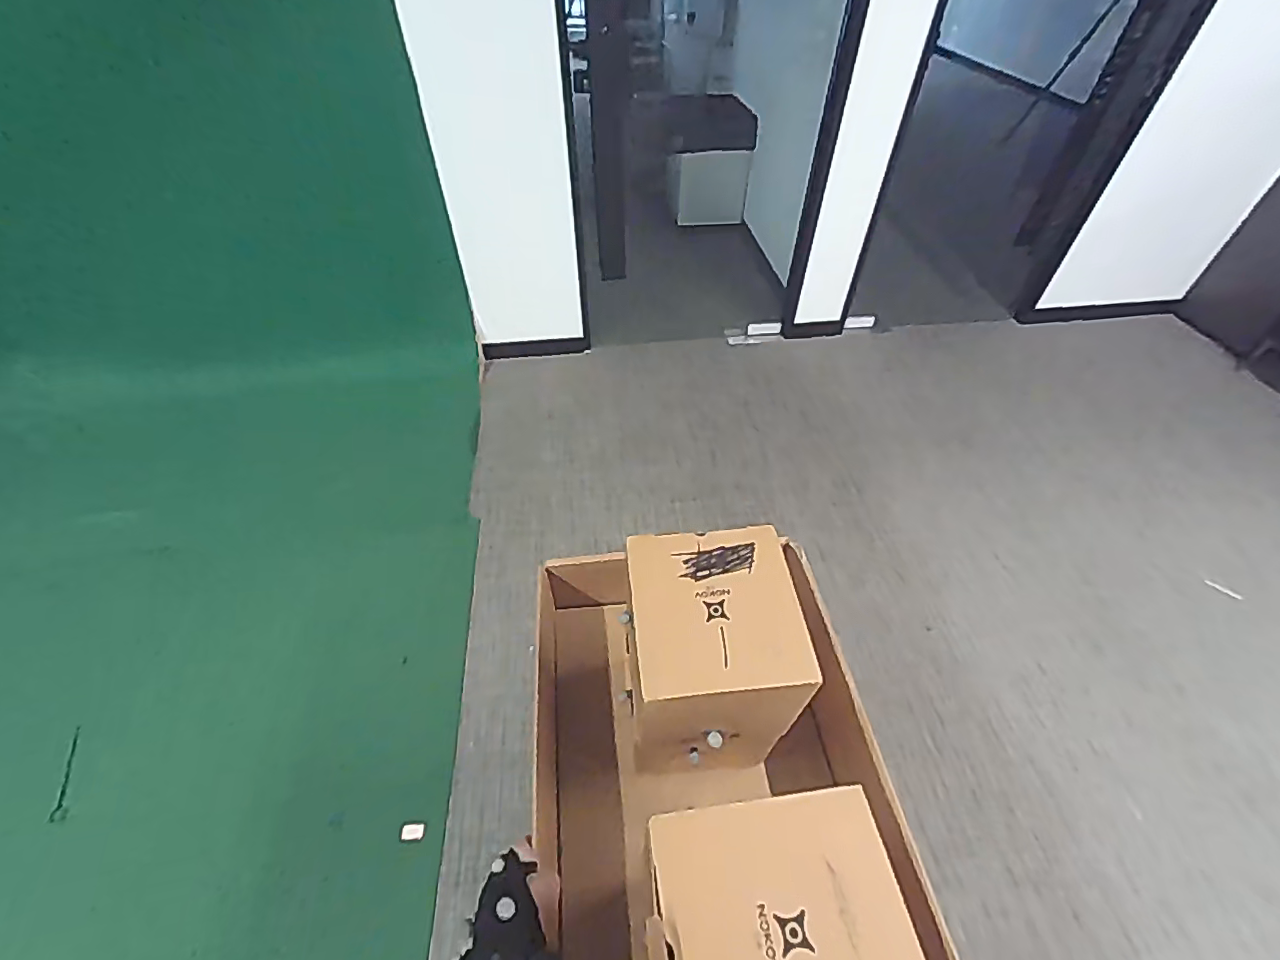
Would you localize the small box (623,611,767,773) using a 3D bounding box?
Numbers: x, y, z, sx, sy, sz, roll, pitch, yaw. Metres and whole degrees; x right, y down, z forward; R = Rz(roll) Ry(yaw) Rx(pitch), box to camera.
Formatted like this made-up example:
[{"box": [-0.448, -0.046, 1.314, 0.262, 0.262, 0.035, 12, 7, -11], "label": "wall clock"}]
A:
[{"box": [0.072, 0.279, 0.722, 0.179, 0.176, 0.168, -4, 50, -3], "label": "small box"}]

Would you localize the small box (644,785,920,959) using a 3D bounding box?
[{"box": [0.099, 0.365, 0.430, 0.179, 0.176, 0.168, -5, 48, -6], "label": "small box"}]

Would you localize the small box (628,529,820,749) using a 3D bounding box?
[{"box": [0.073, 0.175, 0.595, 0.168, 0.176, 0.179, -4, 51, -4], "label": "small box"}]
